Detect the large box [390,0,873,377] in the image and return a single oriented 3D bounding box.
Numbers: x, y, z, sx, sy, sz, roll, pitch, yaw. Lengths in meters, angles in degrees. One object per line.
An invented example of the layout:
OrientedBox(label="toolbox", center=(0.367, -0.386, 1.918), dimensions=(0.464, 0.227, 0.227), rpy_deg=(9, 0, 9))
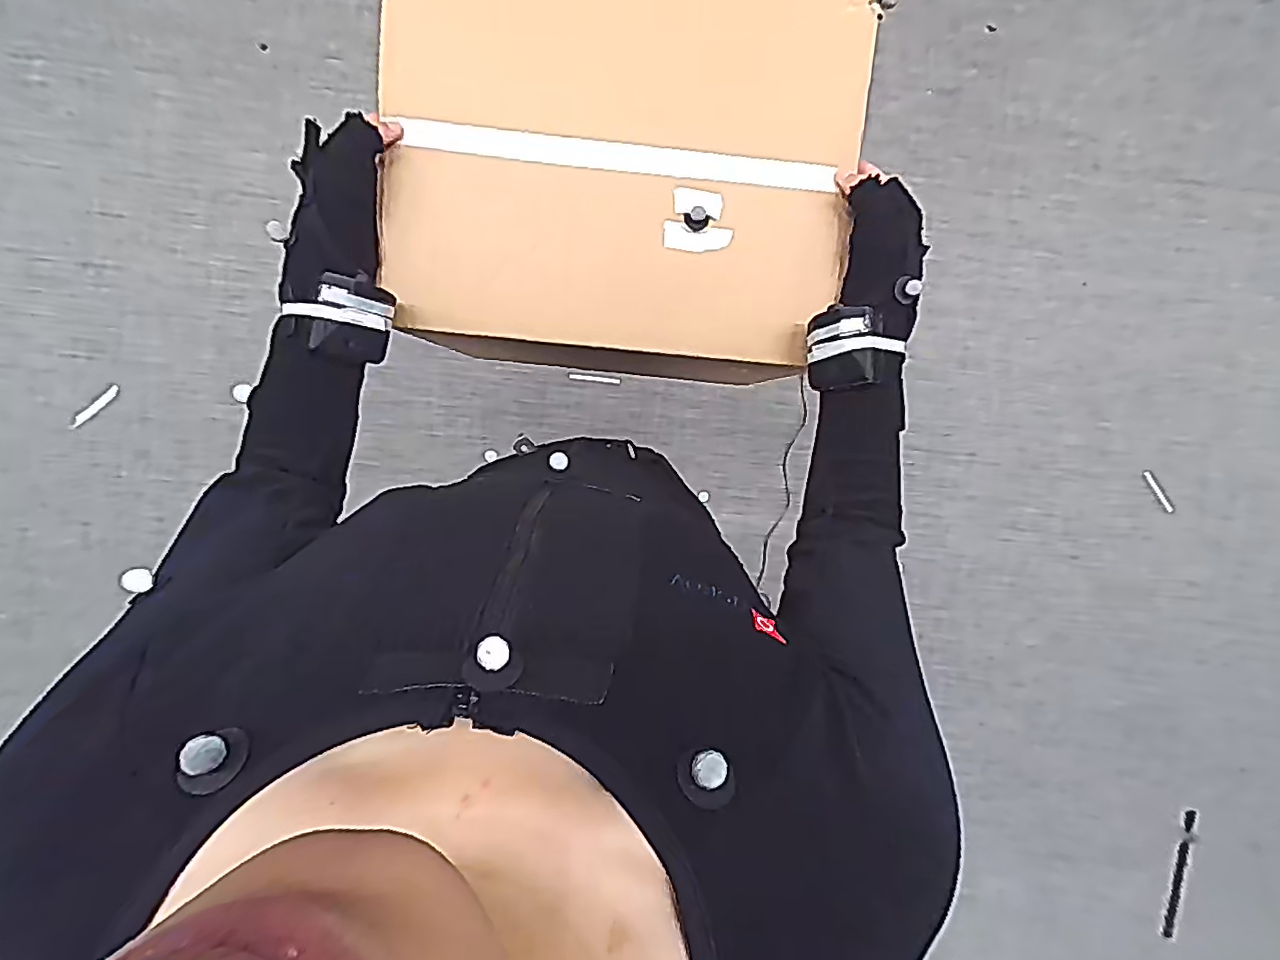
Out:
OrientedBox(label="large box", center=(-0.019, -0.295, 0.611), dimensions=(0.408, 0.320, 0.320), rpy_deg=(5, 98, -4))

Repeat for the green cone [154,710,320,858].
OrientedBox(label="green cone", center=(-1.015, 0.771, 1.330), dimensions=(0.202, 0.368, 0.200), rpy_deg=(-32, 93, 3))
